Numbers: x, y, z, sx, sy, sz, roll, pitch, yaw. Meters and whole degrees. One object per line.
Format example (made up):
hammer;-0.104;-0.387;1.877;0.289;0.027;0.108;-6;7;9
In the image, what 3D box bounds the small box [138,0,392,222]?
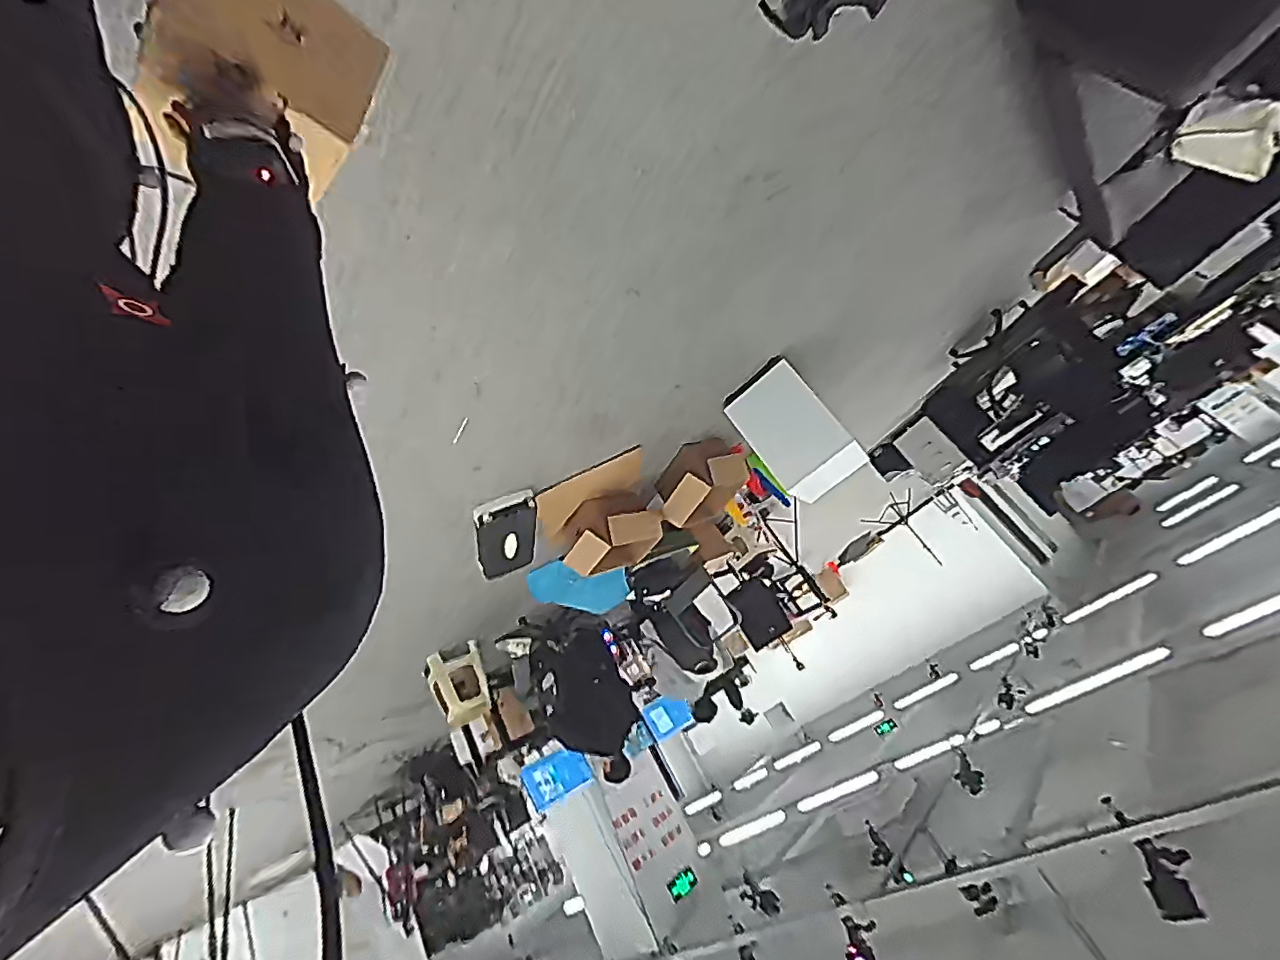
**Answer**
small box;-0.401;-0.425;0.584;0.176;0.179;0.168;-20;147;39
